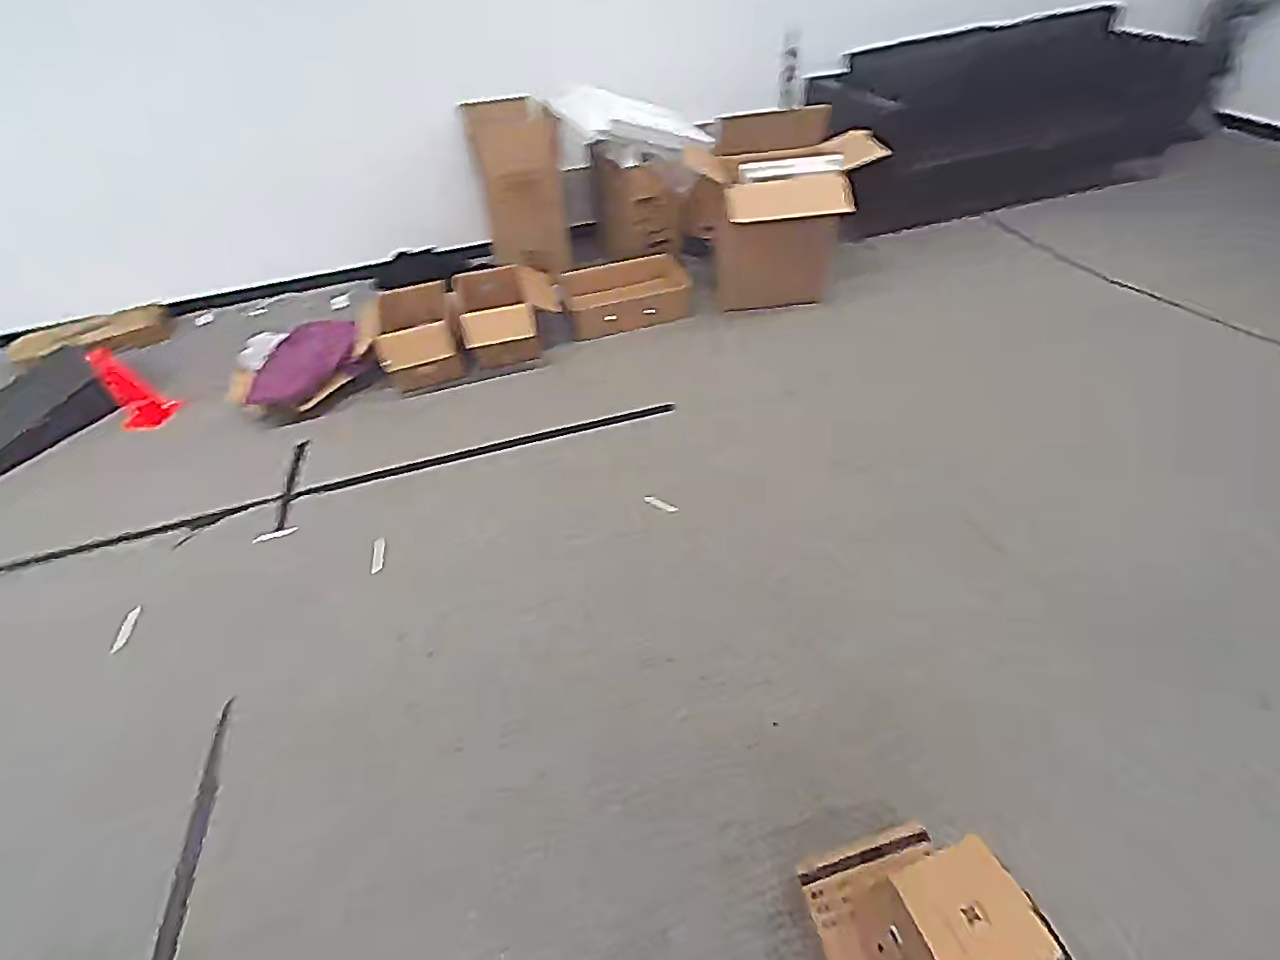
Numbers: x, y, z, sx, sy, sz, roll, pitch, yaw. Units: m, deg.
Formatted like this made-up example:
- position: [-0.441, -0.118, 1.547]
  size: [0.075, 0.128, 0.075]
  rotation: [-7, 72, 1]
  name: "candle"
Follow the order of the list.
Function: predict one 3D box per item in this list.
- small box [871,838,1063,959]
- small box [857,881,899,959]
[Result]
- position: [0.504, 0.711, 0.865]
  size: [0.179, 0.176, 0.168]
  rotation: [-18, 47, -11]
  name: "small box"
- position: [0.516, 0.825, 0.982]
  size: [0.179, 0.176, 0.168]
  rotation: [-13, 48, -6]
  name: "small box"
